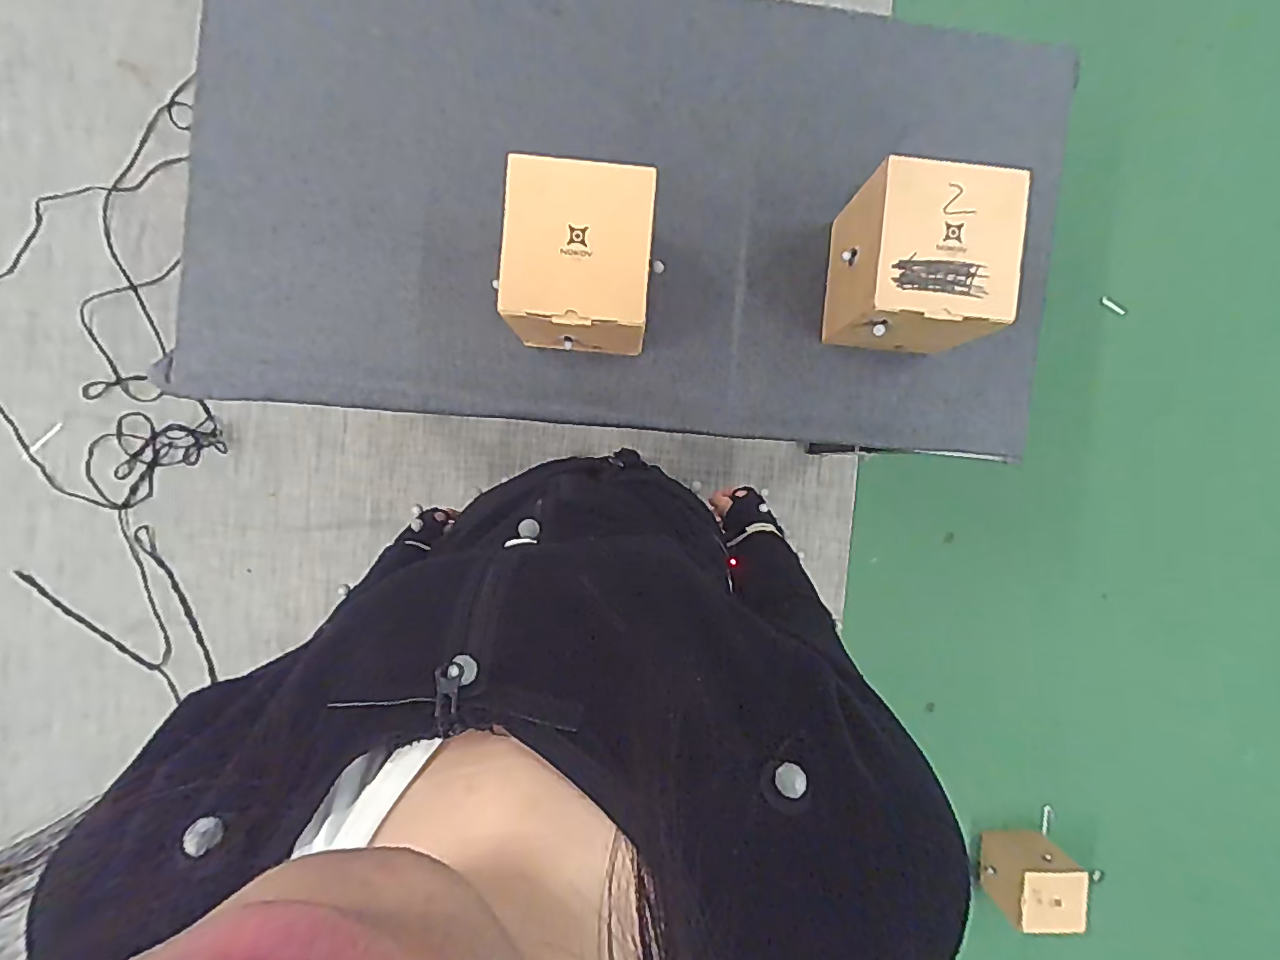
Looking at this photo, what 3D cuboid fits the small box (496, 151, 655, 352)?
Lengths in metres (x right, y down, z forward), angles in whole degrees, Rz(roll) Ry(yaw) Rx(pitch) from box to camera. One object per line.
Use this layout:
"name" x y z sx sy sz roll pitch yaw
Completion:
"small box" -0.076 -0.269 0.675 0.168 0.176 0.179 4 93 -3

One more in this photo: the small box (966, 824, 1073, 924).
"small box" 1.061 1.100 1.521 0.179 0.176 0.168 2 92 -3
